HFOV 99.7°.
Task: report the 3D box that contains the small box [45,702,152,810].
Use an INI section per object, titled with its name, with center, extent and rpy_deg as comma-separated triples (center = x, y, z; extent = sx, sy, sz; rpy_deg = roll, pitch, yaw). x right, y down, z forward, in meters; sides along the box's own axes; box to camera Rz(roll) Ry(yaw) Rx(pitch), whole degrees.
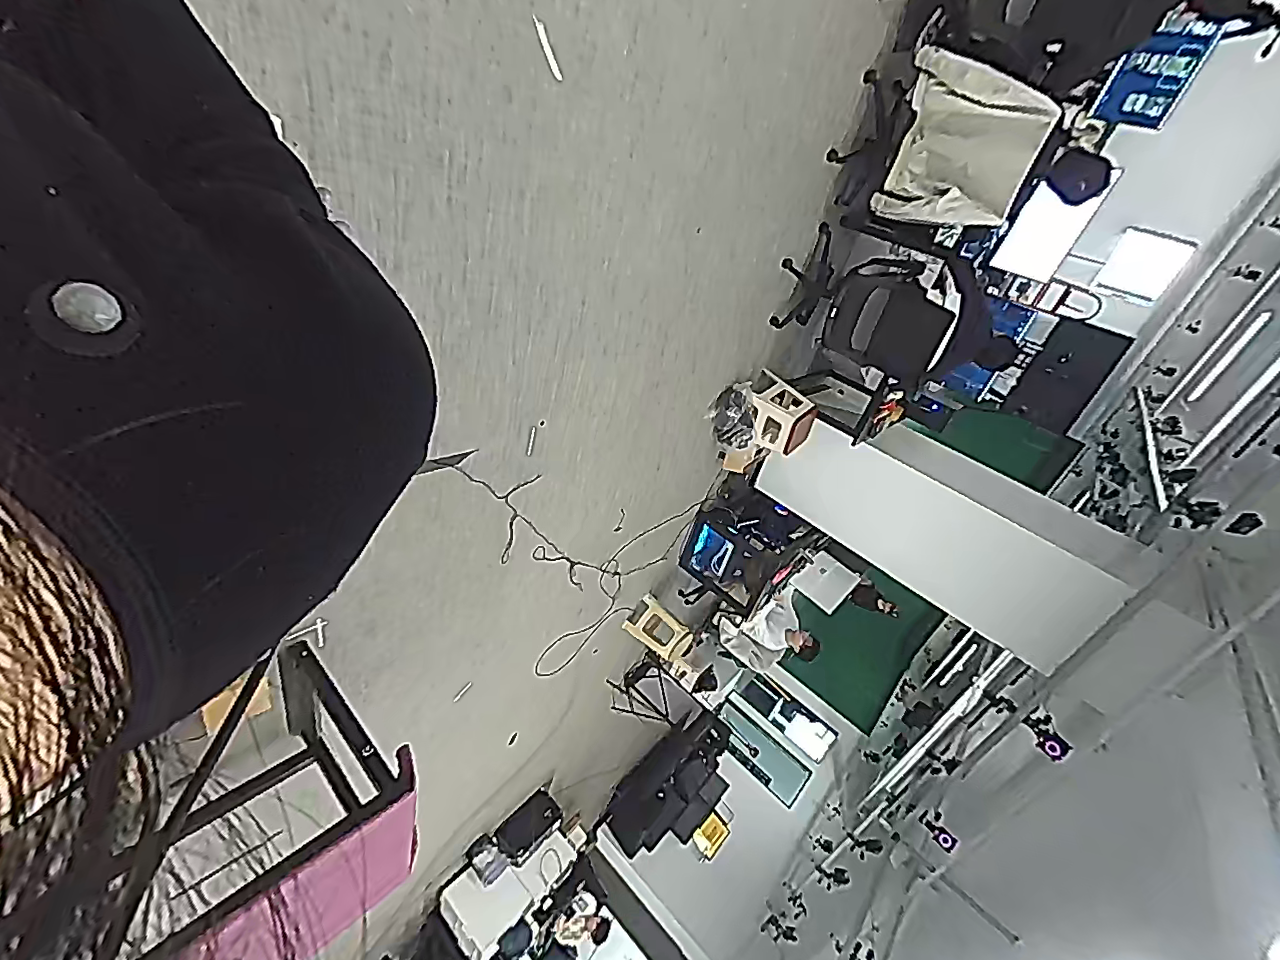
[small box]
center = -1.518, 0.768, 1.519
extent = 0.168, 0.176, 0.179
rpy_deg = -23, 138, -46
